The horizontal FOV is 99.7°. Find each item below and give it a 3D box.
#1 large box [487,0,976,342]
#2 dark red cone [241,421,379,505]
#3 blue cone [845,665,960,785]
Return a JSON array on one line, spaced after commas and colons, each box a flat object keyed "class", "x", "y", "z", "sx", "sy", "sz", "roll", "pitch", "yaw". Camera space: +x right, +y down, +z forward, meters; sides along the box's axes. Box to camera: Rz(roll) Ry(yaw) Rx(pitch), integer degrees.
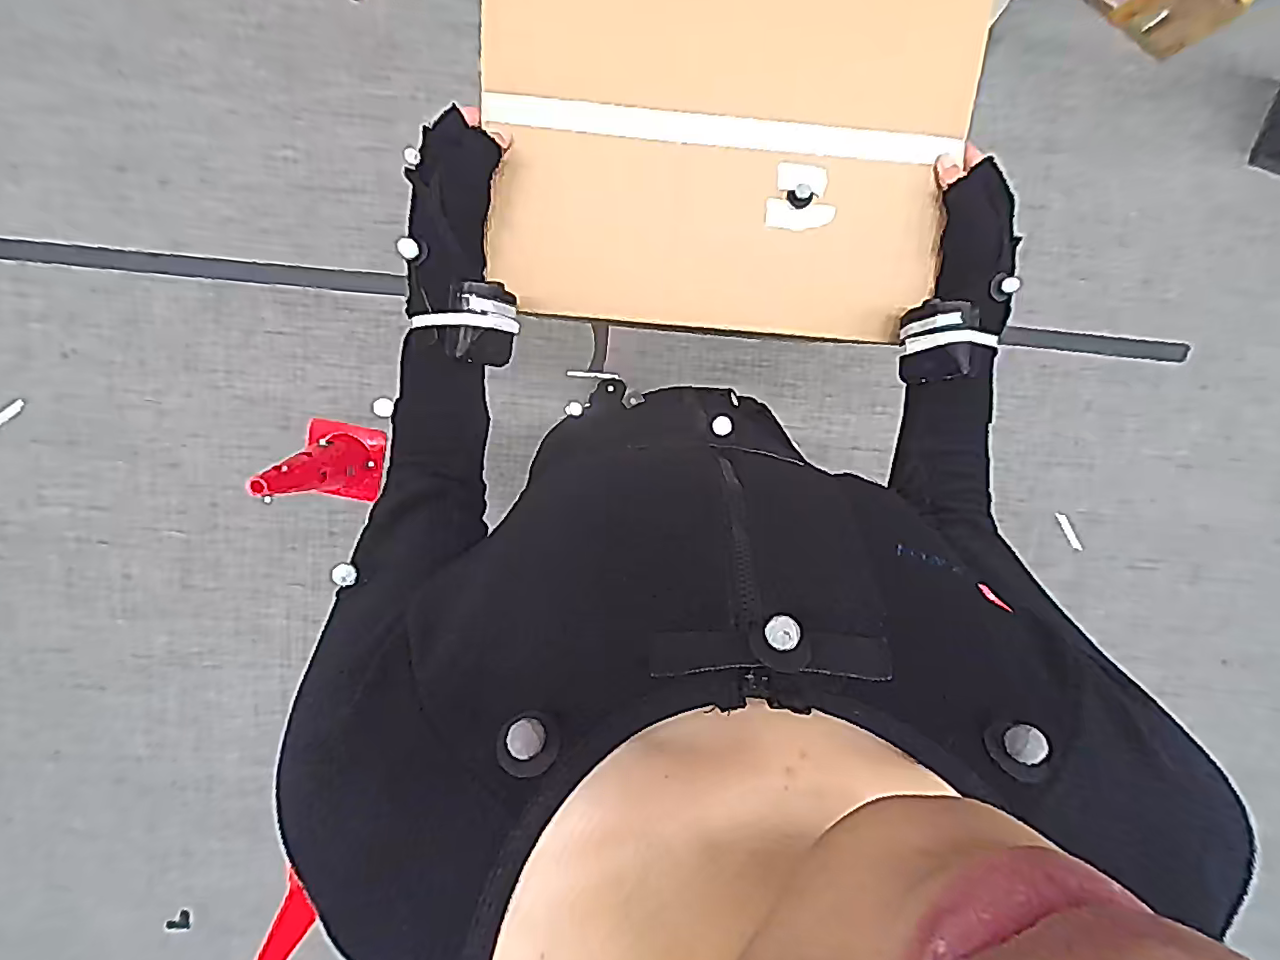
[{"class": "large box", "x": 0.063, "y": -0.326, "z": 0.604, "sx": 0.408, "sy": 0.320, "sz": 0.320, "roll": 4, "pitch": 105, "yaw": -4}, {"class": "dark red cone", "x": -0.775, "y": -0.016, "z": 1.245, "sx": 0.201, "sy": 0.394, "sz": 0.202, "roll": 10, "pitch": 100, "yaw": -5}, {"class": "blue cone", "x": 0.727, "y": 0.678, "z": 1.471, "sx": 0.192, "sy": 0.380, "sz": 0.193, "roll": 8, "pitch": 100, "yaw": -5}]
